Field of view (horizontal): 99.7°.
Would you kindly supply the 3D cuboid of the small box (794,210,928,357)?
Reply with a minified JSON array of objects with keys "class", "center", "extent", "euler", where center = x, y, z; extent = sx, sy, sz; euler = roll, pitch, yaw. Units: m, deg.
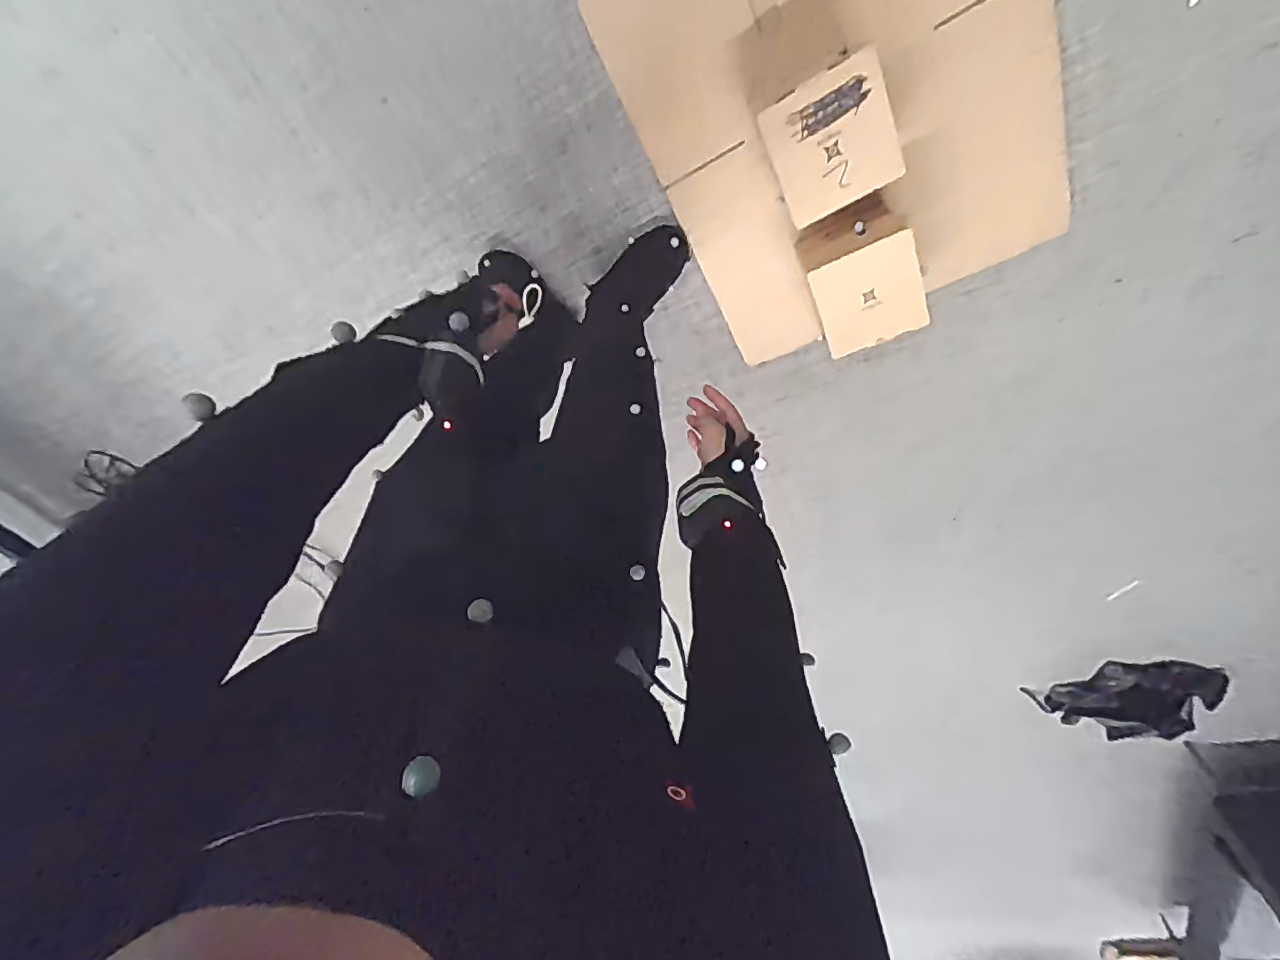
[{"class":"small box","center":[0.385,-0.355,0.962],"extent":[0.168,0.176,0.179],"euler":[-19,125,20]}]
